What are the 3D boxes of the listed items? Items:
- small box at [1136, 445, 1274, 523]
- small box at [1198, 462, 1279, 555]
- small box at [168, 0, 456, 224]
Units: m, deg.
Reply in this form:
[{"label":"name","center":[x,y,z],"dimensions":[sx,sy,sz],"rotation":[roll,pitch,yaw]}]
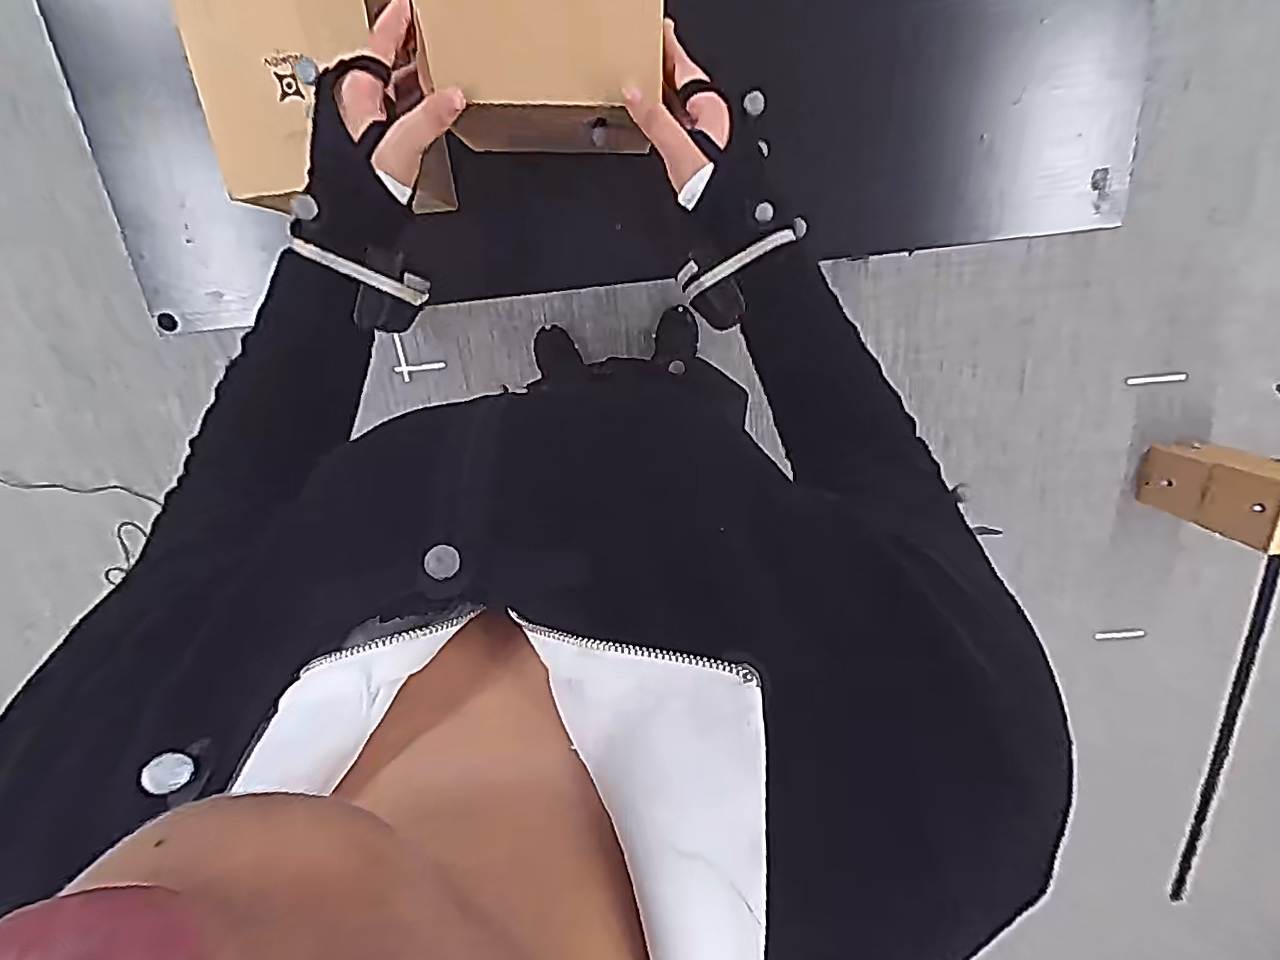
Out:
[{"label":"small box","center":[1.490,0.007,1.441],"dimensions":[0.179,0.176,0.168],"rotation":[-3,108,1]},{"label":"small box","center":[1.498,0.061,1.284],"dimensions":[0.168,0.176,0.179],"rotation":[-4,109,1]},{"label":"small box","center":[-0.304,-0.371,0.542],"dimensions":[0.168,0.176,0.179],"rotation":[-6,109,3]}]
